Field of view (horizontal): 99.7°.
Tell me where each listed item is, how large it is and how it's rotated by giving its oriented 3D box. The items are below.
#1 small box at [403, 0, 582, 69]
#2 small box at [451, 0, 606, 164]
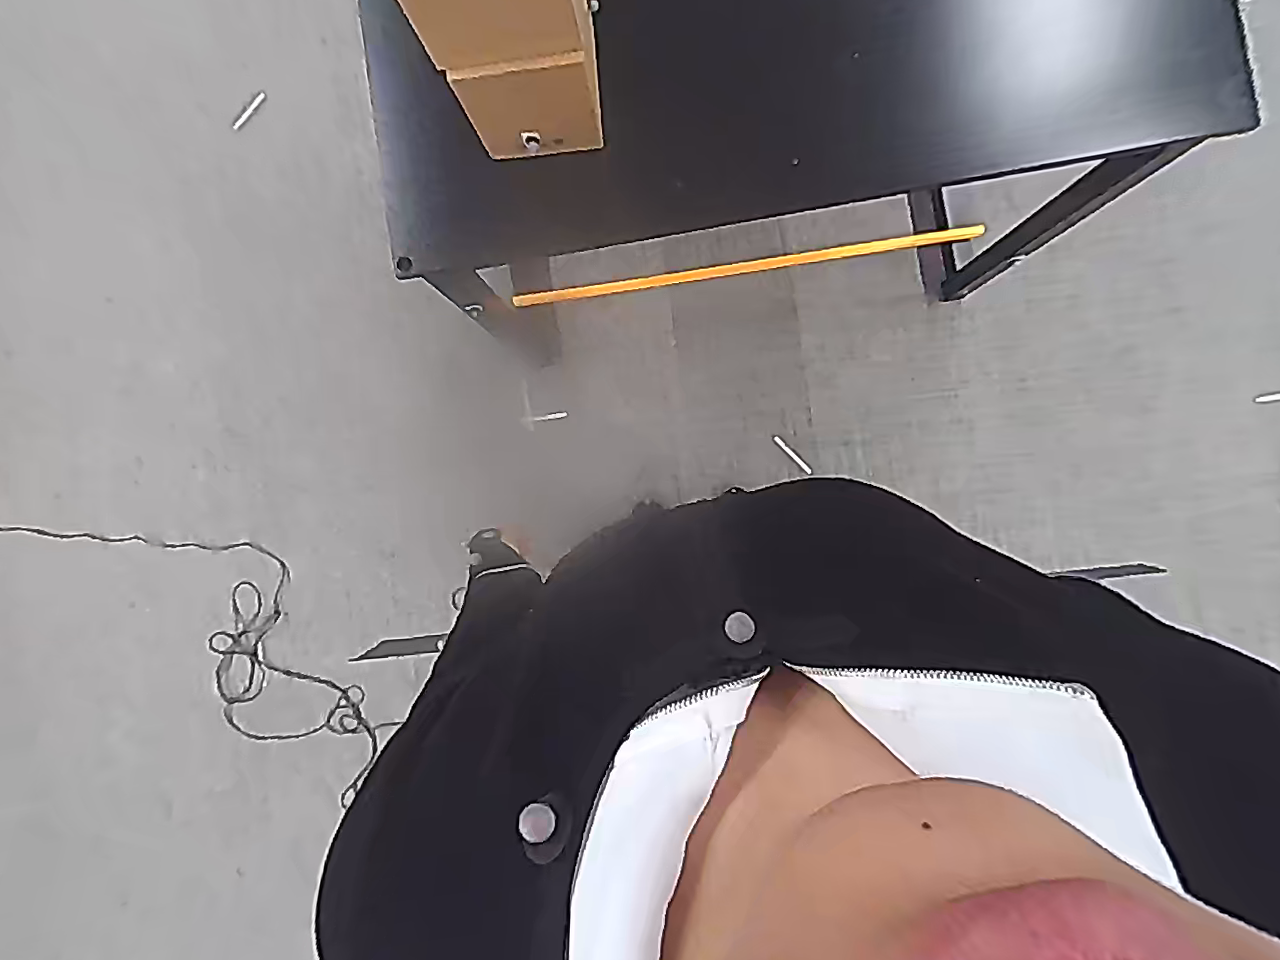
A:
[{"bbox_3d":[-0.158,-0.564,0.545,0.179,0.176,0.168,-5,88,5],"label":"small box"},{"bbox_3d":[-0.141,-0.556,0.709,0.168,0.176,0.179,-5,90,5],"label":"small box"}]
